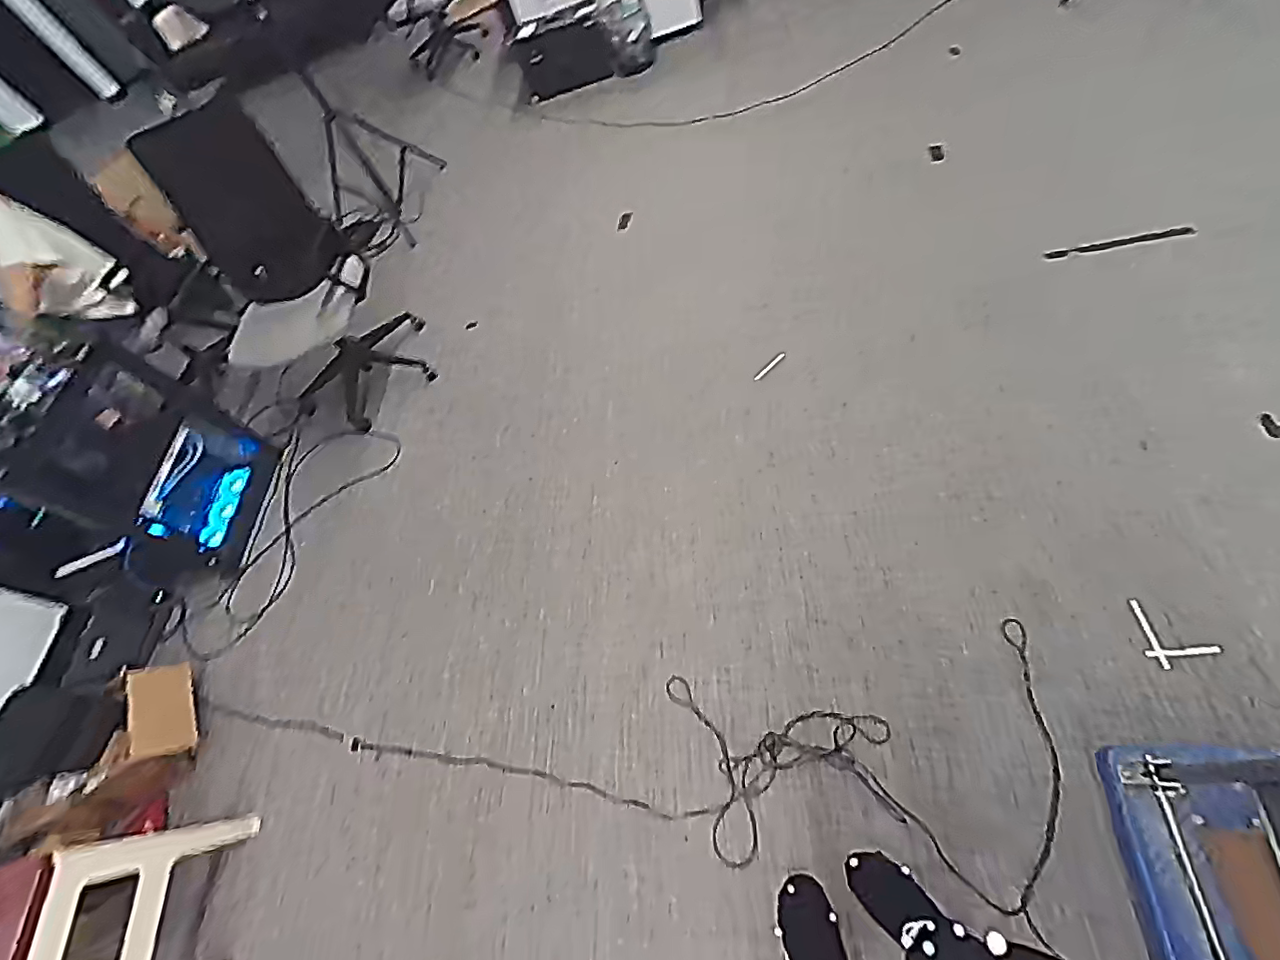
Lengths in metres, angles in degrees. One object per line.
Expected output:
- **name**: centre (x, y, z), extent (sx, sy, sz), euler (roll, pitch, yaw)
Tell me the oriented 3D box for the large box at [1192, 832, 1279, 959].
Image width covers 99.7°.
- **large box**: centre (1.039, 0.671, 0.658), extent (0.320, 0.320, 0.408), euler (-10, 59, 13)
